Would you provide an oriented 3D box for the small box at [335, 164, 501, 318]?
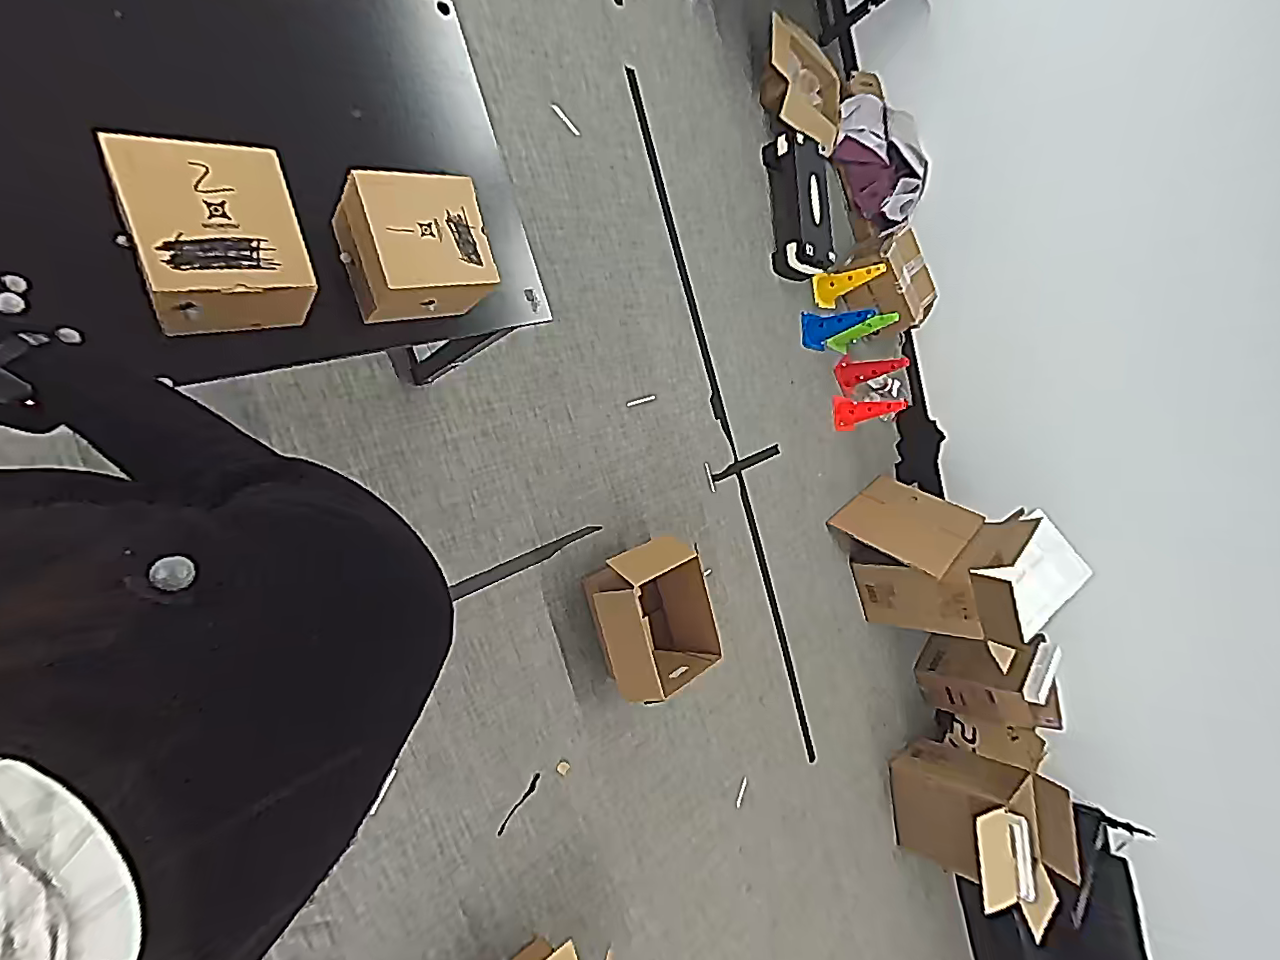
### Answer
[{"bbox_3d":[-0.350,-0.365,0.849,0.179,0.176,0.168,-21,99,-36],"label":"small box"}]
